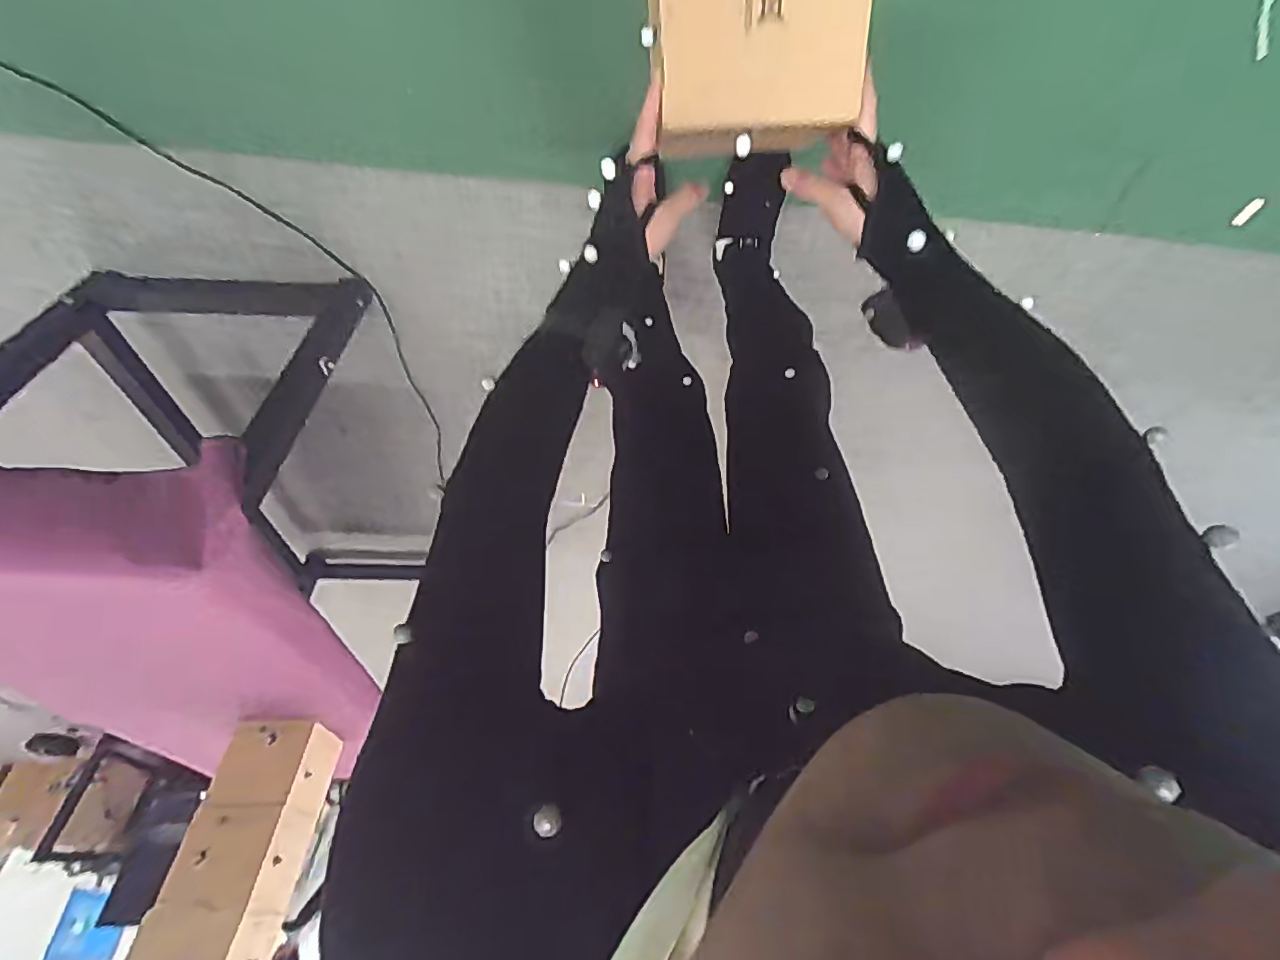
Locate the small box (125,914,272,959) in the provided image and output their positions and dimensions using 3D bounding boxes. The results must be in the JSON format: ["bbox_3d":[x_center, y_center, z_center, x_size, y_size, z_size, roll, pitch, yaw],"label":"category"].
[{"bbox_3d":[-0.803,0.886,0.970,0.179,0.176,0.168,2,138,-2],"label":"small box"}]

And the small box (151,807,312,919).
[{"bbox_3d":[-0.797,0.764,1.078,0.168,0.176,0.179,3,139,-3],"label":"small box"}]

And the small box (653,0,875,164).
[{"bbox_3d":[0.104,-0.408,0.514,0.179,0.176,0.168,-2,113,2],"label":"small box"}]
